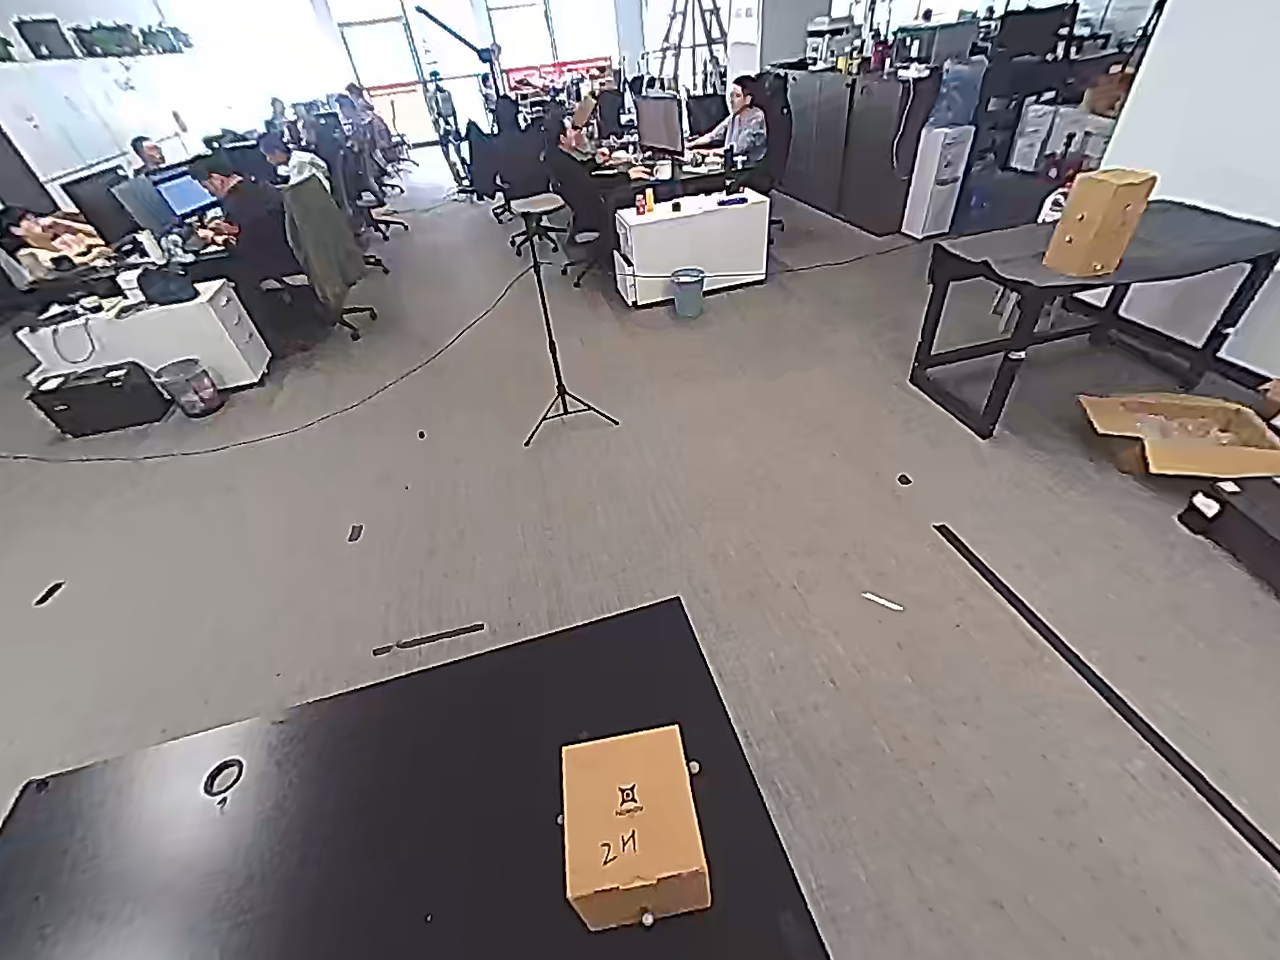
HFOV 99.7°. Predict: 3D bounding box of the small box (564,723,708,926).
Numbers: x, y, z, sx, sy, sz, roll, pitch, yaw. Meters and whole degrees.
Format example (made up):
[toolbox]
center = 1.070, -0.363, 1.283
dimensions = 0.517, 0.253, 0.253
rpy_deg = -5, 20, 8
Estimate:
[small box]
center = -0.006, 0.463, 0.730
dimensions = 0.168, 0.176, 0.179
rpy_deg = -10, 40, -2
